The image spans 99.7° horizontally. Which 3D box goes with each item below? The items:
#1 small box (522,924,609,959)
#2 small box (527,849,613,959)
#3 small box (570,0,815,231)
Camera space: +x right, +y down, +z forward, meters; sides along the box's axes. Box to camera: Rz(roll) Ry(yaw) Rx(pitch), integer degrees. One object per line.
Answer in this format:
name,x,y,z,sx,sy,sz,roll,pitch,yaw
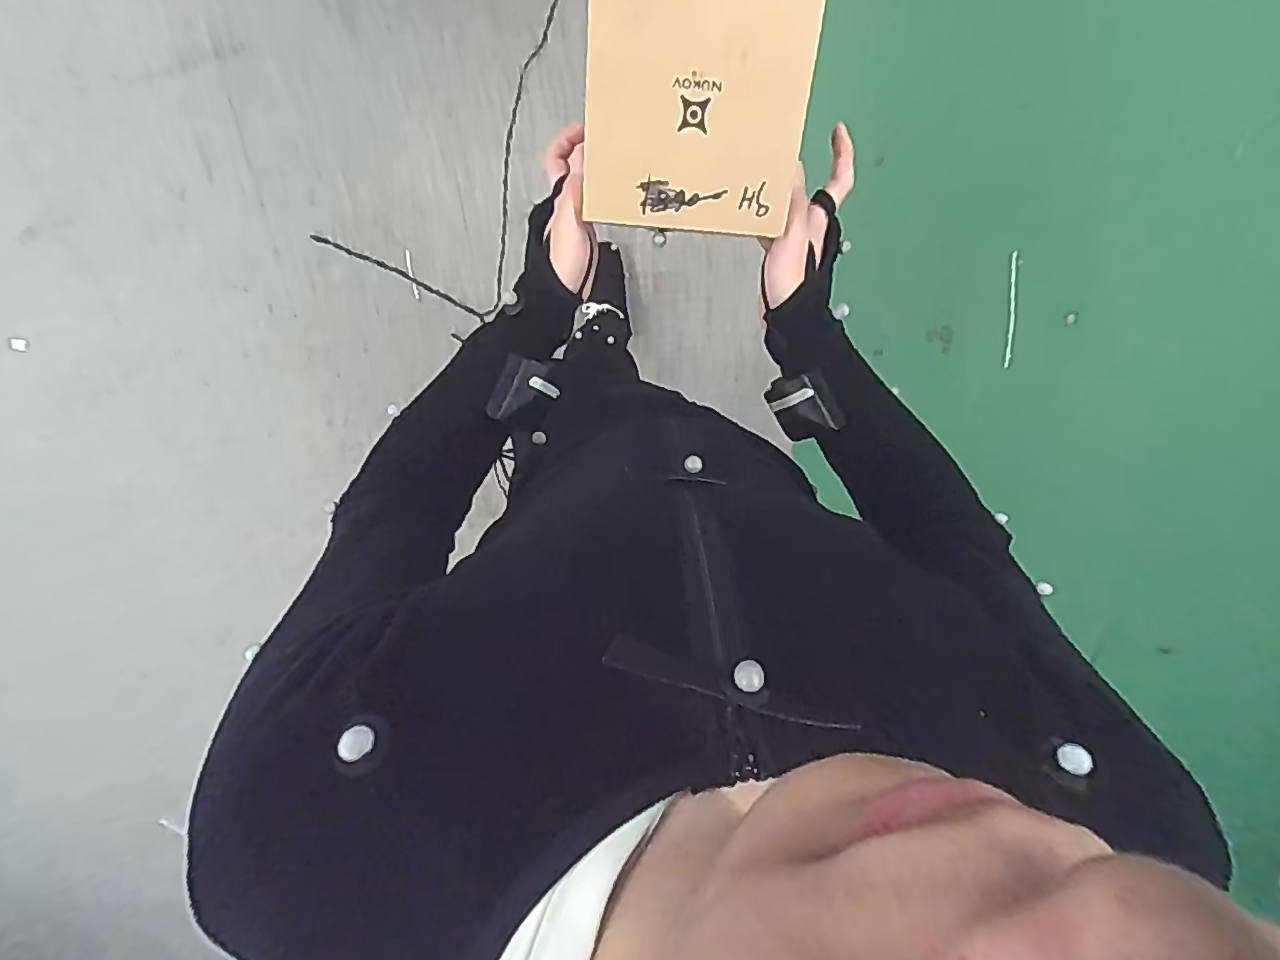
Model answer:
small box,-0.143,1.001,1.034,0.168,0.176,0.179,-3,106,-2
small box,-0.146,0.957,1.191,0.168,0.176,0.179,-4,106,-1
small box,0.033,-0.316,0.460,0.168,0.176,0.179,4,114,-2
